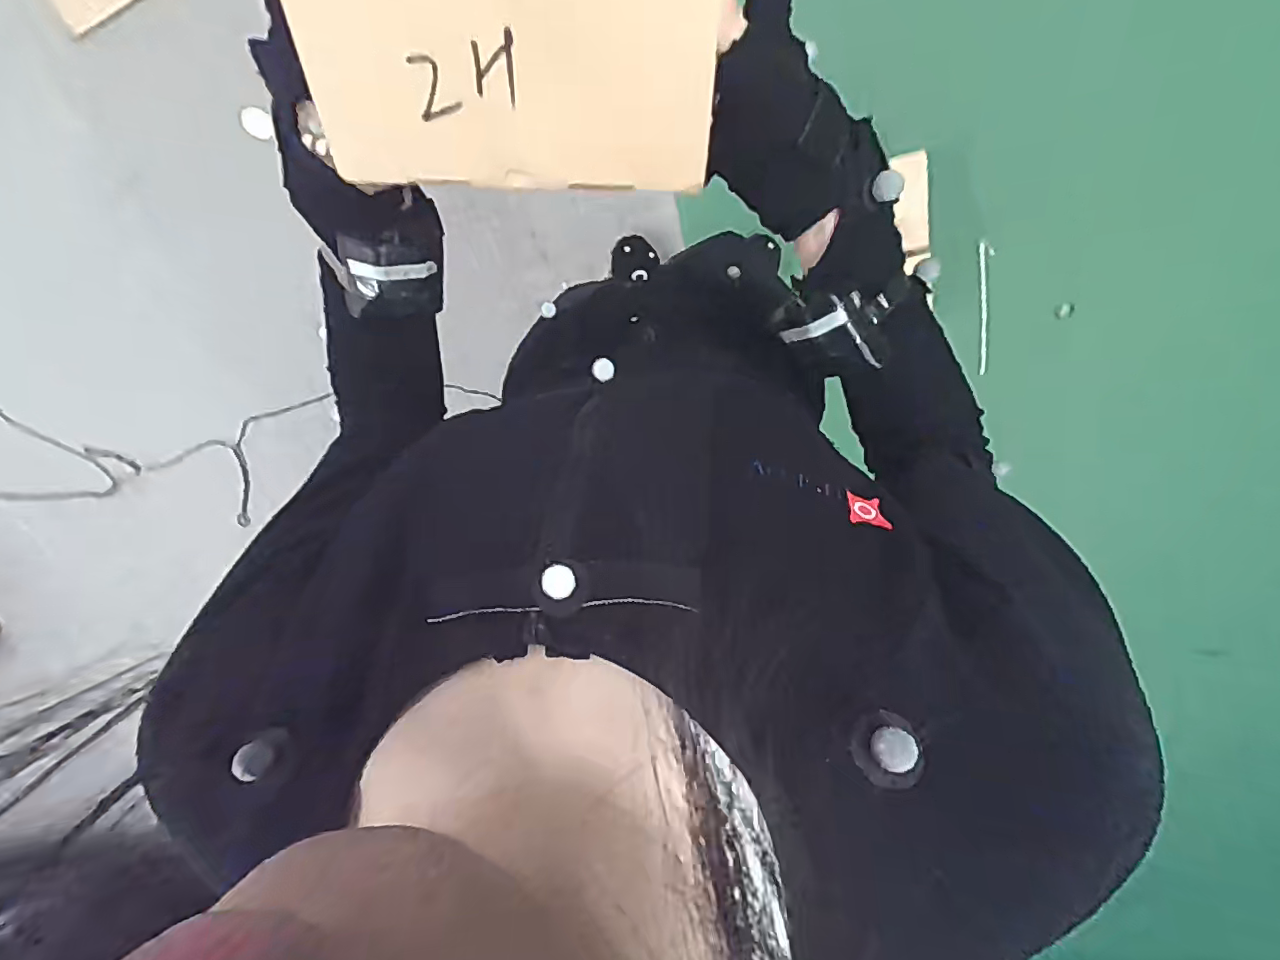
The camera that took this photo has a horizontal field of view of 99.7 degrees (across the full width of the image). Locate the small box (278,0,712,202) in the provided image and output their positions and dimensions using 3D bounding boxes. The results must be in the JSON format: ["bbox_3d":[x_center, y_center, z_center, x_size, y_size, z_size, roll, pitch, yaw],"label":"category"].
[{"bbox_3d":[-0.051,-0.247,0.250,0.168,0.176,0.179,3,131,2],"label":"small box"}]
